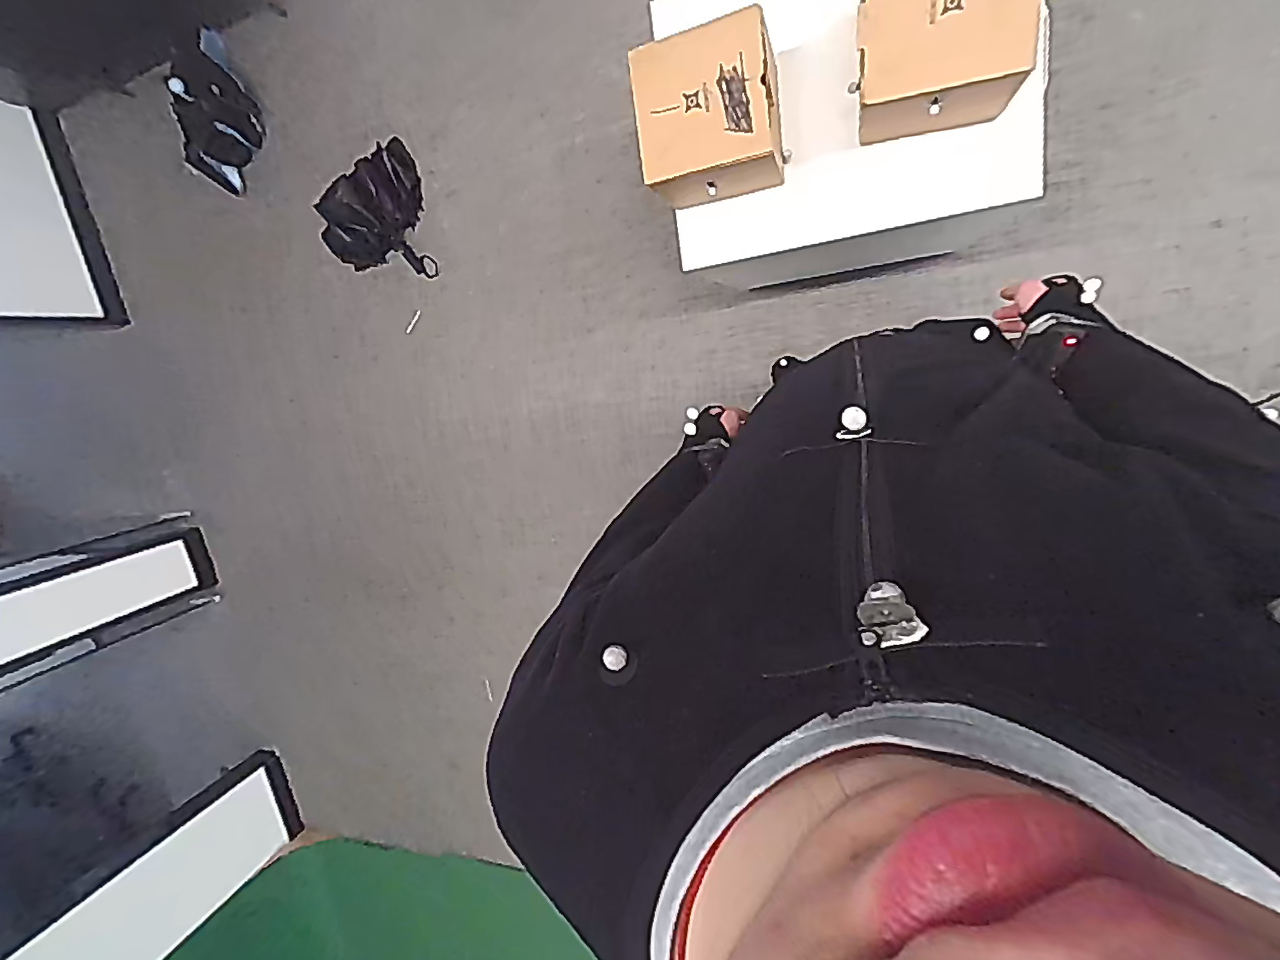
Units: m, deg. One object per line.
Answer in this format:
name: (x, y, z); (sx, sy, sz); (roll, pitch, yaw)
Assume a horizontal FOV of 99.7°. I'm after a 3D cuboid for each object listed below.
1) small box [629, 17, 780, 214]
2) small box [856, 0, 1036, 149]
small box: (0.103, -0.499, 0.772); (0.179, 0.176, 0.168); (-3, 103, 22)
small box: (0.362, -0.534, 0.666); (0.179, 0.176, 0.168); (0, 106, 20)
